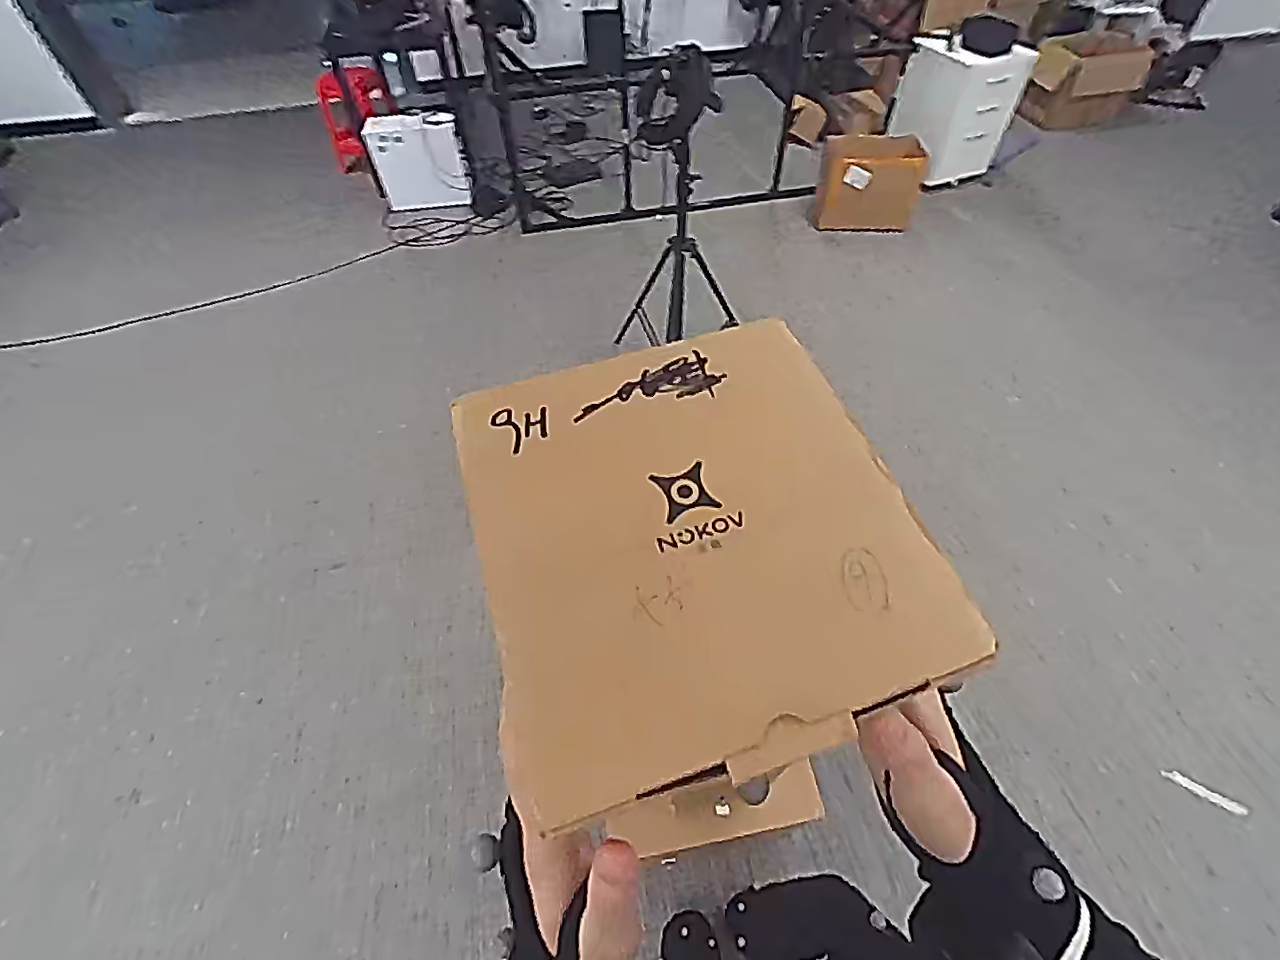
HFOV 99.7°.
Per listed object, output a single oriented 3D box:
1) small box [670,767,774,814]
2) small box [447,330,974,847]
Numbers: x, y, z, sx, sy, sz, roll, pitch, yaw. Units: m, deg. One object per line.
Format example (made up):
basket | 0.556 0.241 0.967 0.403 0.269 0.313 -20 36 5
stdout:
small box | 0.125 0.499 0.996 0.179 0.176 0.168 -10 54 -7
small box | 0.017 0.058 0.287 0.168 0.176 0.179 -17 62 -10
